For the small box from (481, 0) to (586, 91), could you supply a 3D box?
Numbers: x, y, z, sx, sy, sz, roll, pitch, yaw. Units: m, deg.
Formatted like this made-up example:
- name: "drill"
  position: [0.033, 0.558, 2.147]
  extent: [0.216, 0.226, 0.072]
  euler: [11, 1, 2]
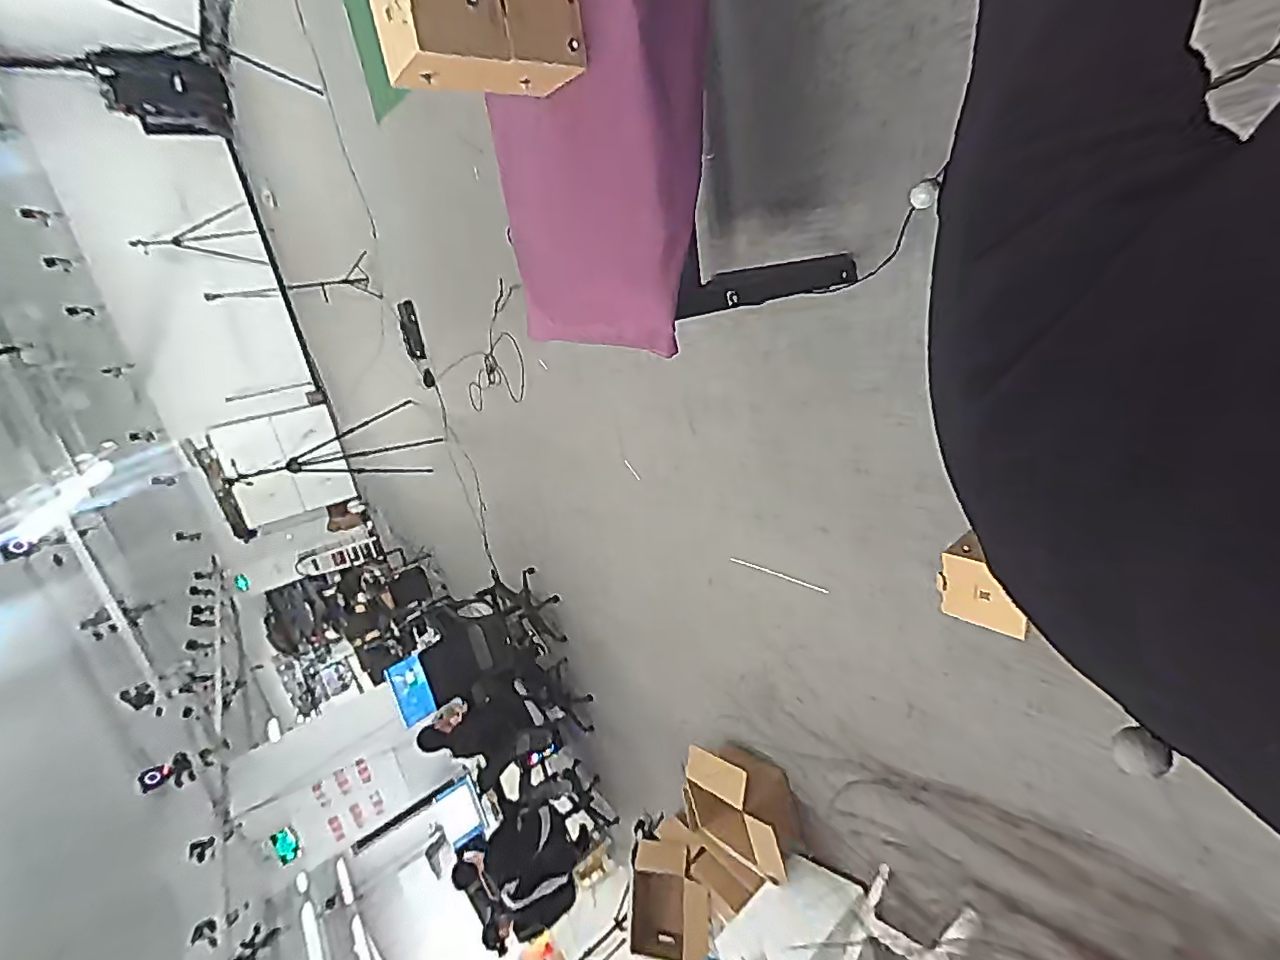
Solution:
- name: "small box"
  position: [-0.217, -0.882, 1.051]
  extent: [0.179, 0.176, 0.168]
  euler: [19, 123, 49]

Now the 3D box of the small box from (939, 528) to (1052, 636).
- name: "small box"
  position: [0.821, 0.225, 1.250]
  extent: [0.179, 0.176, 0.168]
  euler: [14, 120, 51]

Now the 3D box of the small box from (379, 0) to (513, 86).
- name: "small box"
  position: [-0.349, -0.831, 0.967]
  extent: [0.179, 0.176, 0.168]
  euler: [18, 123, 49]
